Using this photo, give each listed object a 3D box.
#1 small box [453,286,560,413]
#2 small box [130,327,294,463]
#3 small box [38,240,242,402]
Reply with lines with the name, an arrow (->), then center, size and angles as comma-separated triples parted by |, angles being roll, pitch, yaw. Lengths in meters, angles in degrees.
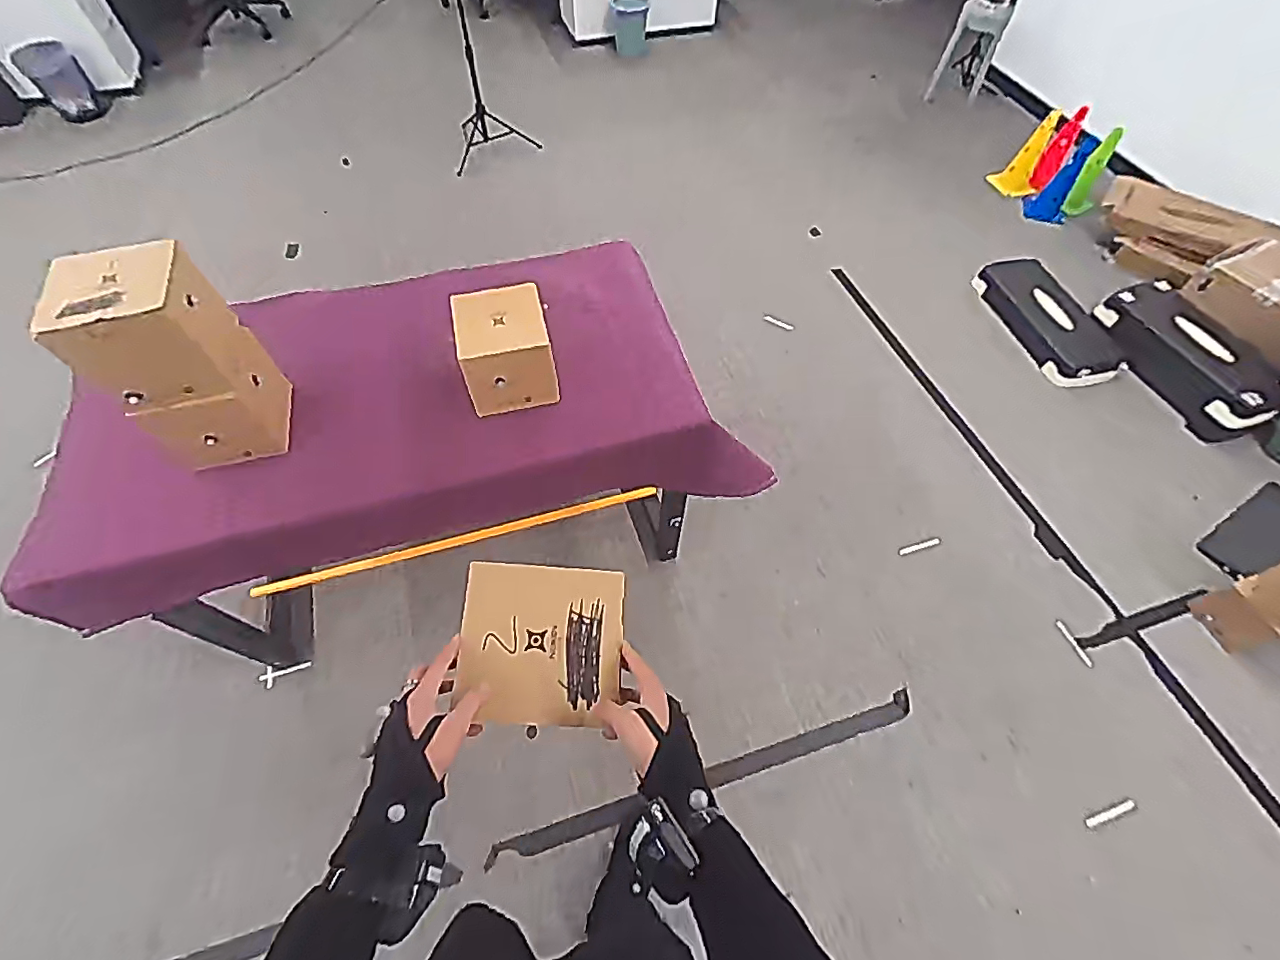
small box -> -0.261, -0.250, 1.073 | 0.168, 0.176, 0.179 | -12, 59, -9
small box -> -0.764, -0.148, 0.989 | 0.168, 0.176, 0.179 | -12, 59, -10
small box -> -0.766, -0.242, 0.854 | 0.168, 0.176, 0.179 | -15, 60, -12
